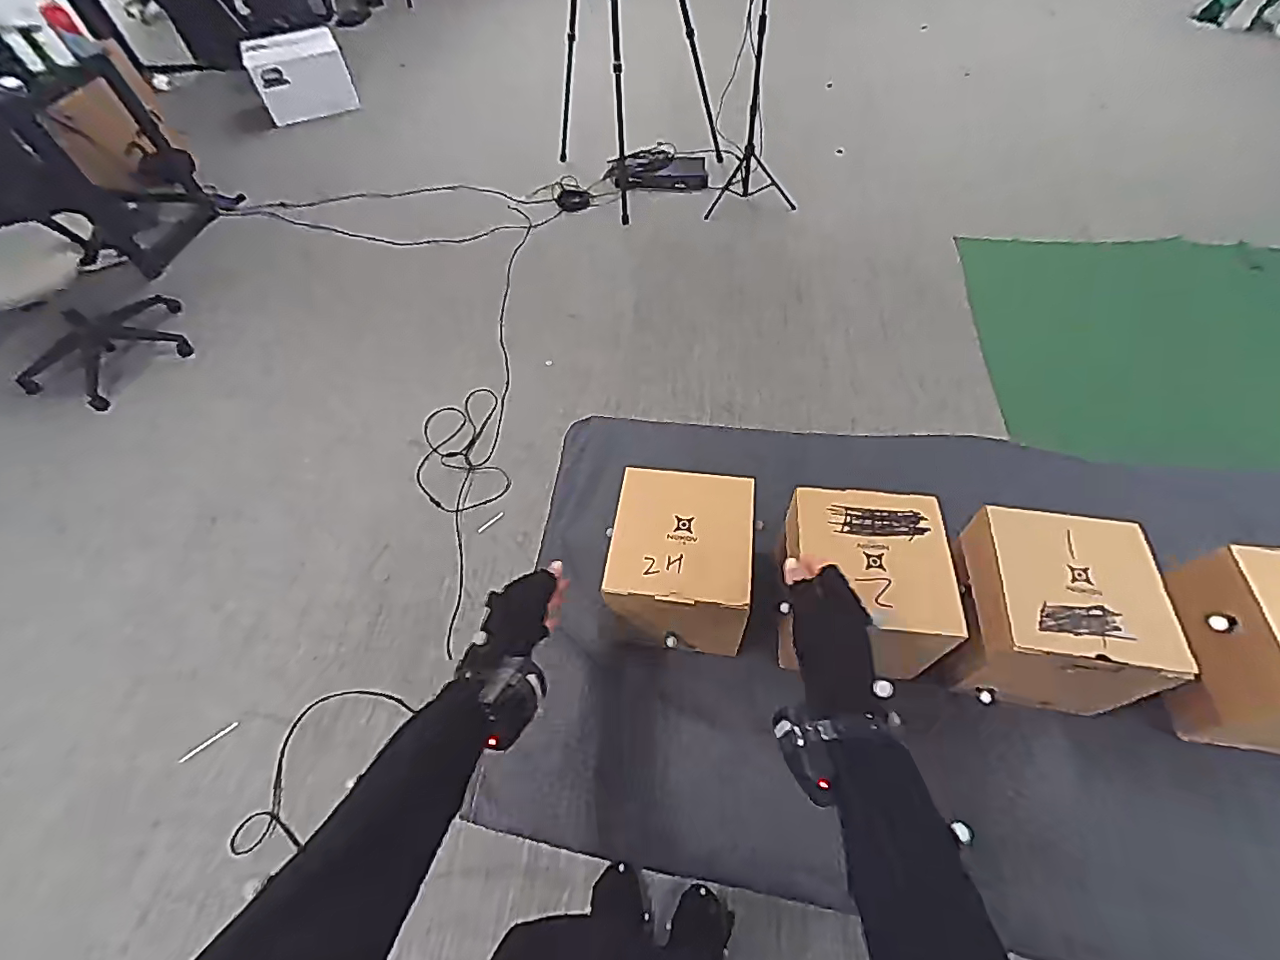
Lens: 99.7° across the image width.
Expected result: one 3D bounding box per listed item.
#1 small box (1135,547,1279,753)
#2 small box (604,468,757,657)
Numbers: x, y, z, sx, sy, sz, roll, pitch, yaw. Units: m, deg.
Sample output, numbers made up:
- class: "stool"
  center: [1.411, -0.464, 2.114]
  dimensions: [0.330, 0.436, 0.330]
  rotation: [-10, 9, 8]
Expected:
- class: "small box"
  center: [0.713, 0.197, 0.595]
  dimensions: [0.168, 0.176, 0.179]
  rotation: [6, 55, 8]
- class: "small box"
  center: [0.056, 0.109, 0.701]
  dimensions: [0.168, 0.176, 0.179]
  rotation: [5, 55, 8]
